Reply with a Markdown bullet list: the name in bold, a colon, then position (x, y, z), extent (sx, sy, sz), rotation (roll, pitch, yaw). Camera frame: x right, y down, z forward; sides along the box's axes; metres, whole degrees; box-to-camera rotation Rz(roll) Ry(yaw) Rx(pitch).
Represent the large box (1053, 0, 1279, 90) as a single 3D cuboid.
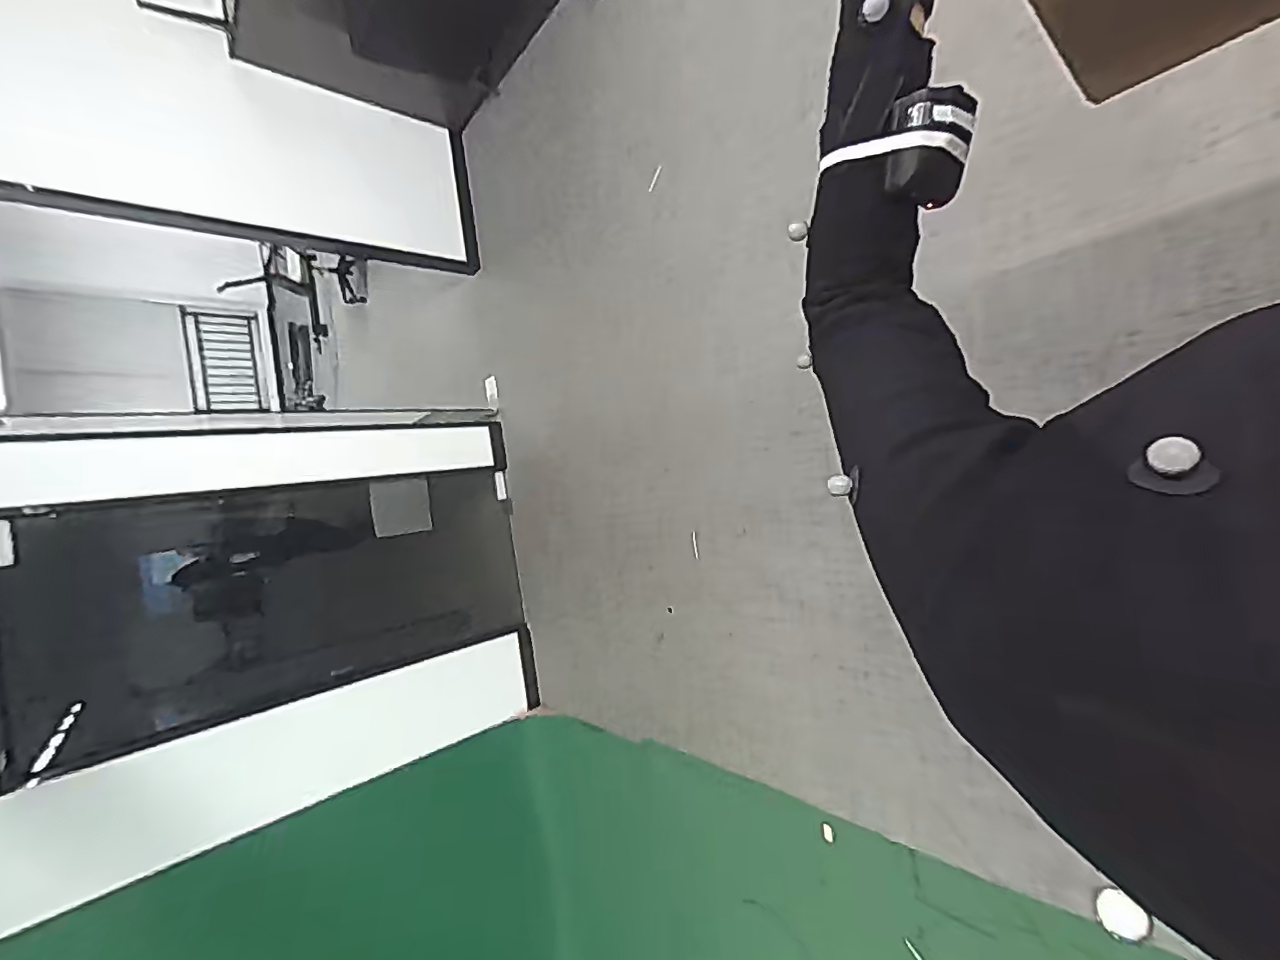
- **large box**: position (0.434, -0.522, 0.276), extent (0.408, 0.320, 0.320), rotation (-9, 91, 48)
